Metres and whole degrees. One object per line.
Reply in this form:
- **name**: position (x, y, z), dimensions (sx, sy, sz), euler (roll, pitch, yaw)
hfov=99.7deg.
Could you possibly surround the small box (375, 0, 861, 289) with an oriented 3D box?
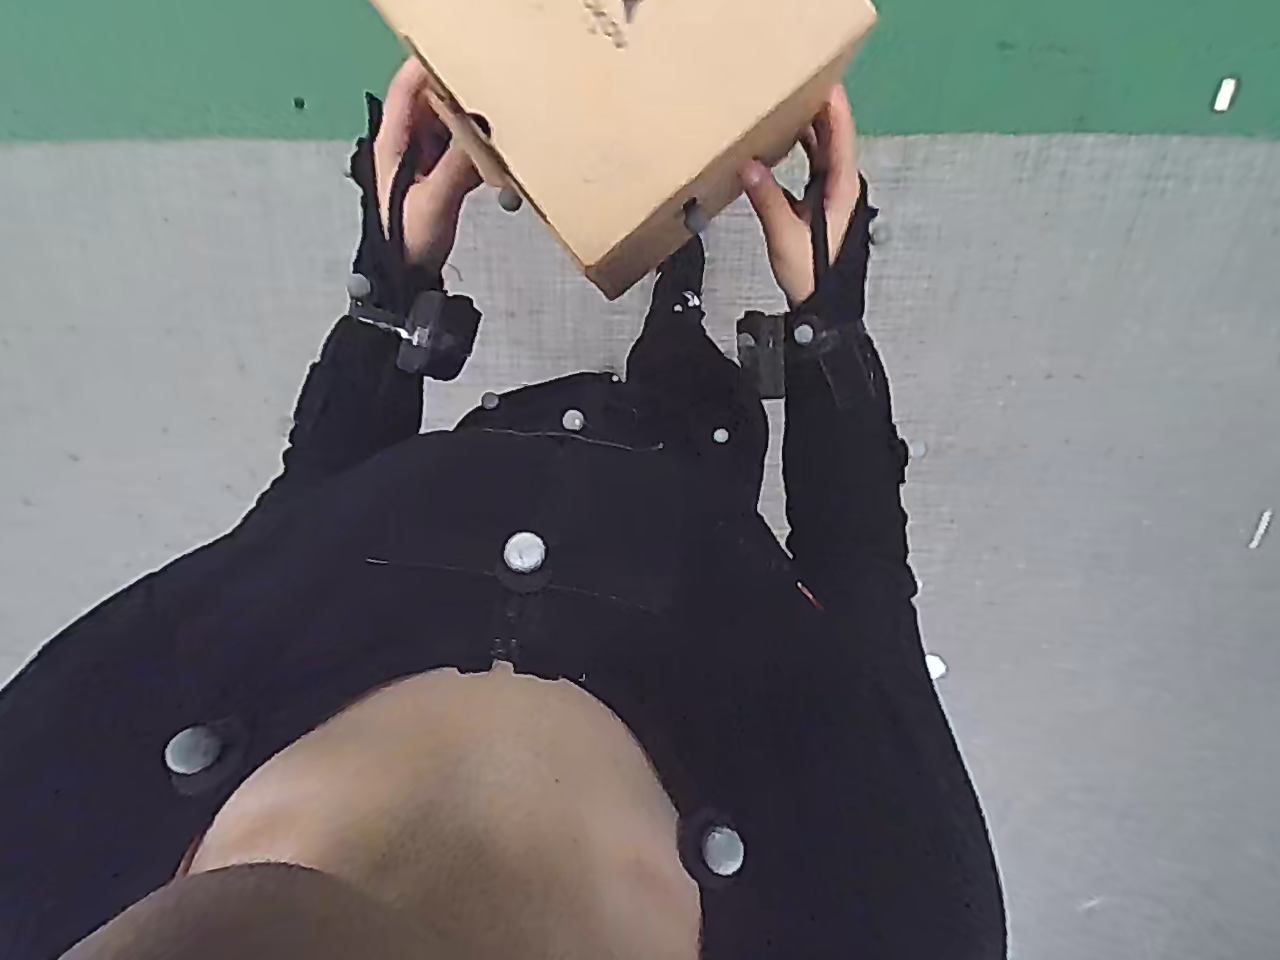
- **small box**: position (-0.007, -0.240, 0.330), dimensions (0.179, 0.176, 0.168), euler (-38, 99, 11)
